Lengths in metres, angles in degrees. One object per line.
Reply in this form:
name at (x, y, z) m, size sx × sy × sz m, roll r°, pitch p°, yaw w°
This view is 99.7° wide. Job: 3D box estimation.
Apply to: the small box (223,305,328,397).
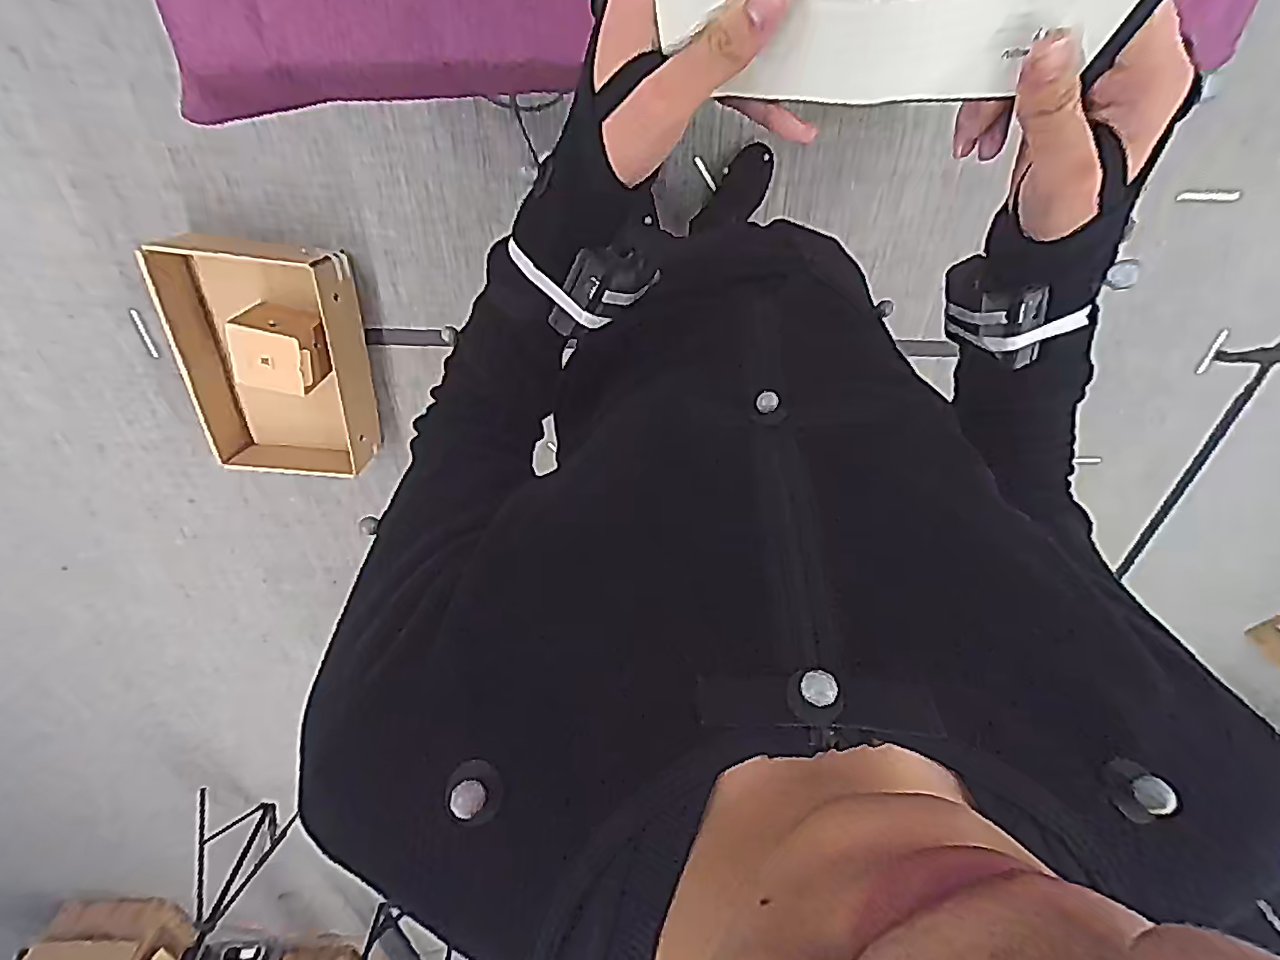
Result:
small box at (-0.946, -0.344, 1.426) m, size 0.179 × 0.176 × 0.168 m, roll 11°, pitch 124°, yaw -9°
